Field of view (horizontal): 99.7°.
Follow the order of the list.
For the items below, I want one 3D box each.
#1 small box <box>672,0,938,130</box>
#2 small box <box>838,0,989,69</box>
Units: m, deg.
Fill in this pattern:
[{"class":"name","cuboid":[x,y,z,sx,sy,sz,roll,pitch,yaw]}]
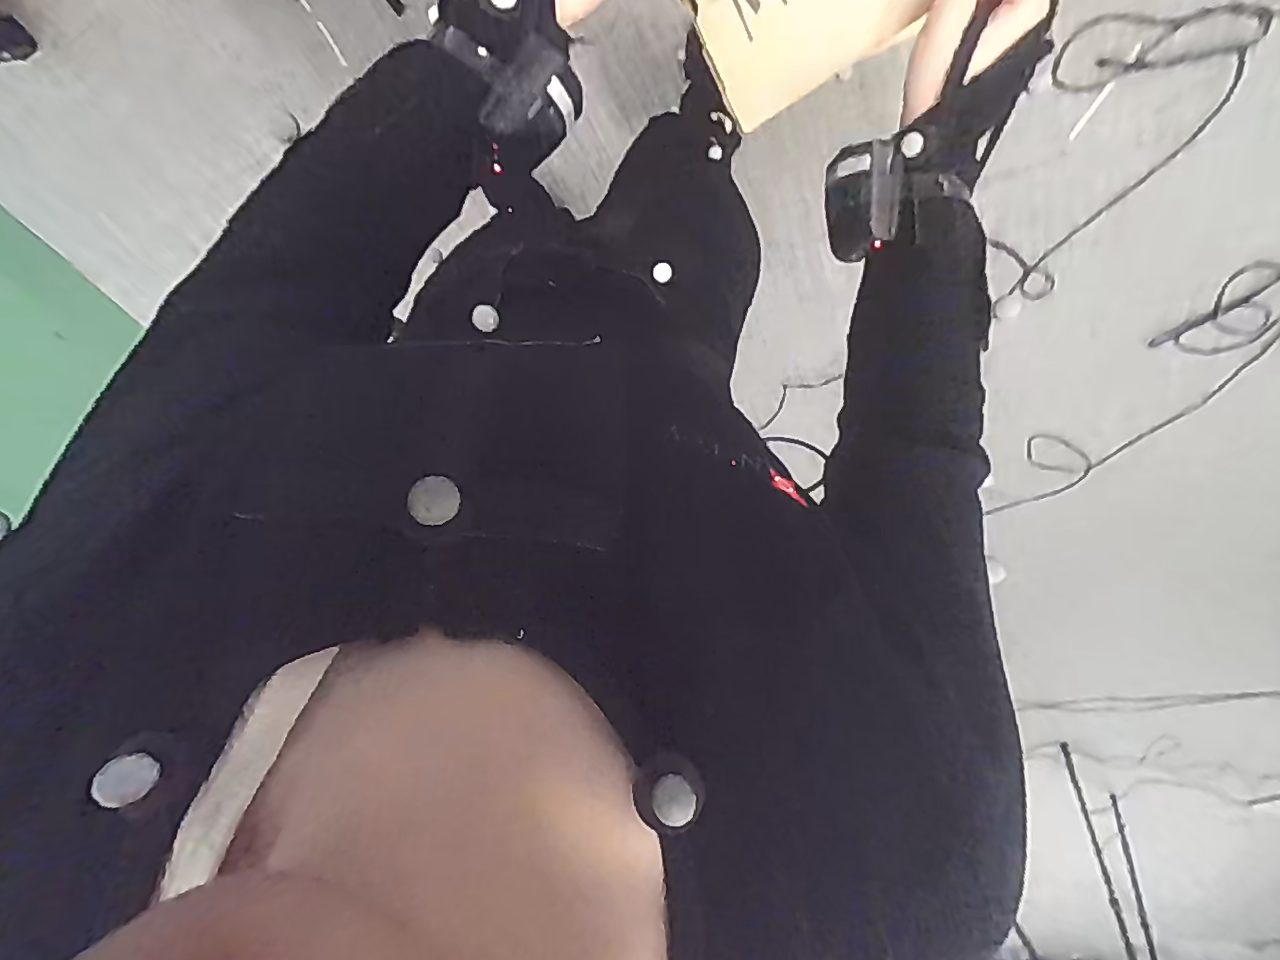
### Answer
[{"class":"small box","cuboid":[0.109,-0.380,0.360,0.179,0.176,0.168,-20,126,29]},{"class":"small box","cuboid":[0.266,-0.564,0.550,0.179,0.176,0.168,-15,129,21]}]
